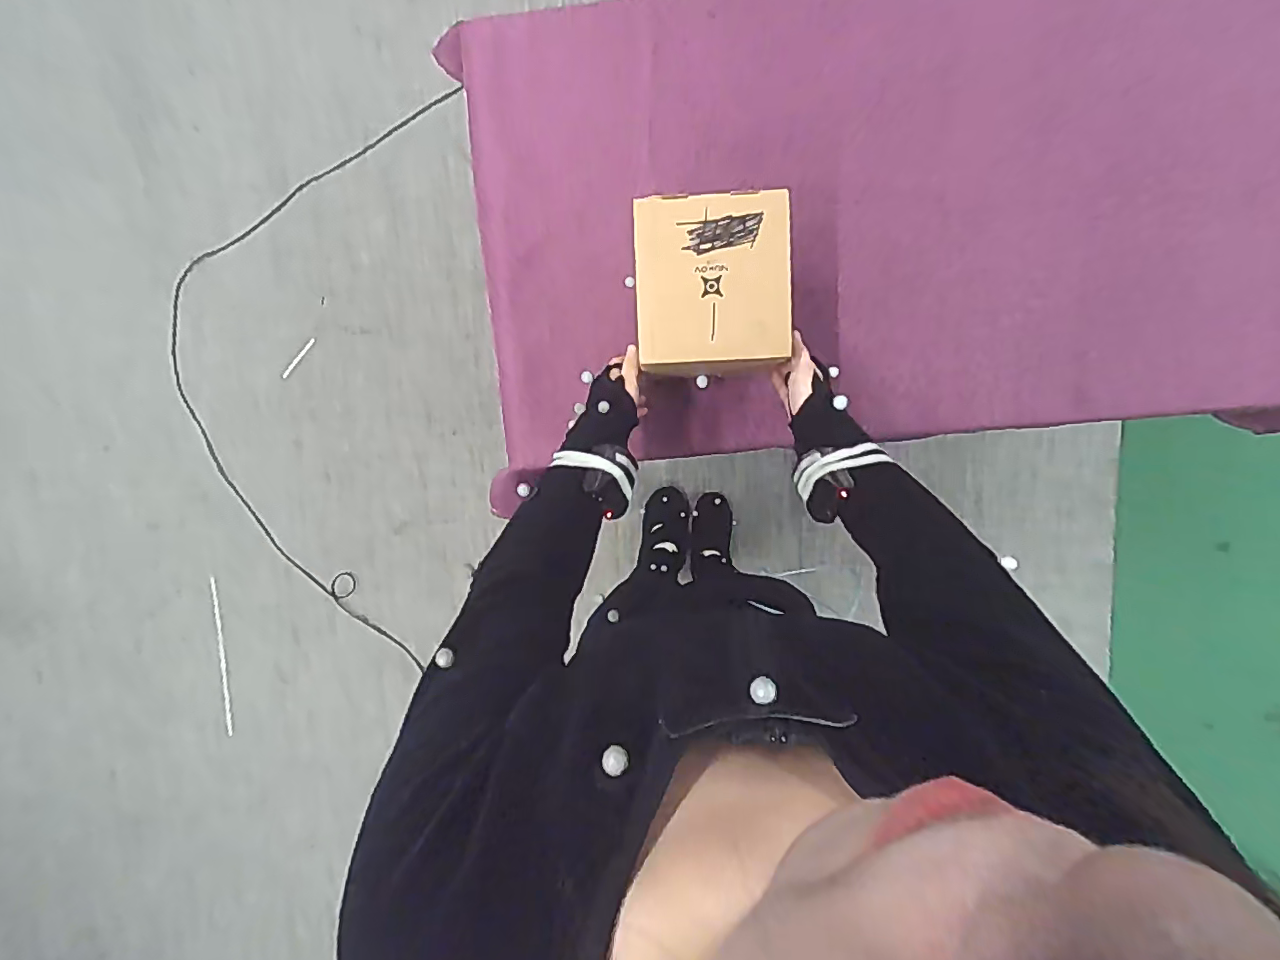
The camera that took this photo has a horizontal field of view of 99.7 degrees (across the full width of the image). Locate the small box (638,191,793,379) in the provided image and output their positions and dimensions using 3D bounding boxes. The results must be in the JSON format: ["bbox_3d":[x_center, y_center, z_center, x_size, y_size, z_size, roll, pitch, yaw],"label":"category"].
[{"bbox_3d":[0.083,-0.221,0.654,0.168,0.176,0.179,-2,95,3],"label":"small box"}]
